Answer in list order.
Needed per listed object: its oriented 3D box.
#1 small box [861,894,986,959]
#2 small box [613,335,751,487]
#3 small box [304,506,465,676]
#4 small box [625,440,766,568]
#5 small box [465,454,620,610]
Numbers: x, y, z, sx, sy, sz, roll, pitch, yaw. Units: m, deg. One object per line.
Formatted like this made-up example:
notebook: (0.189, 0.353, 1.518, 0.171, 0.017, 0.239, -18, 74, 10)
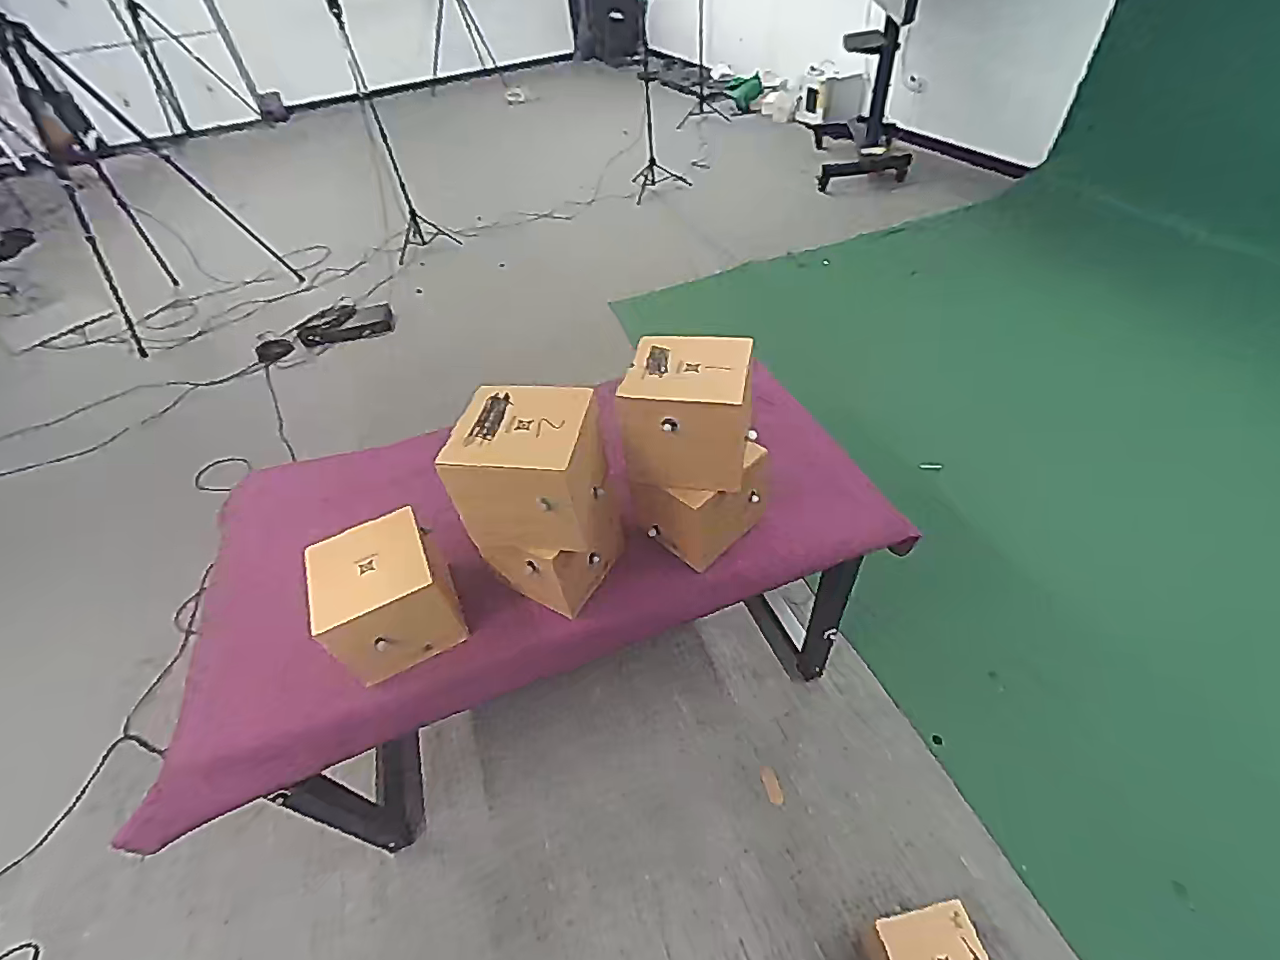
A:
small box: (0.544, 0.923, 1.034, 0.179, 0.176, 0.168, -12, 47, -3)
small box: (0.073, -0.105, 0.832, 0.179, 0.176, 0.168, 6, 46, 14)
small box: (-0.394, 0.180, 0.847, 0.168, 0.176, 0.179, -24, 47, -15)
small box: (0.096, 0.016, 0.941, 0.179, 0.176, 0.168, -37, 51, -25)
small box: (-0.150, 0.090, 0.899, 0.179, 0.176, 0.168, 20, 51, 25)
